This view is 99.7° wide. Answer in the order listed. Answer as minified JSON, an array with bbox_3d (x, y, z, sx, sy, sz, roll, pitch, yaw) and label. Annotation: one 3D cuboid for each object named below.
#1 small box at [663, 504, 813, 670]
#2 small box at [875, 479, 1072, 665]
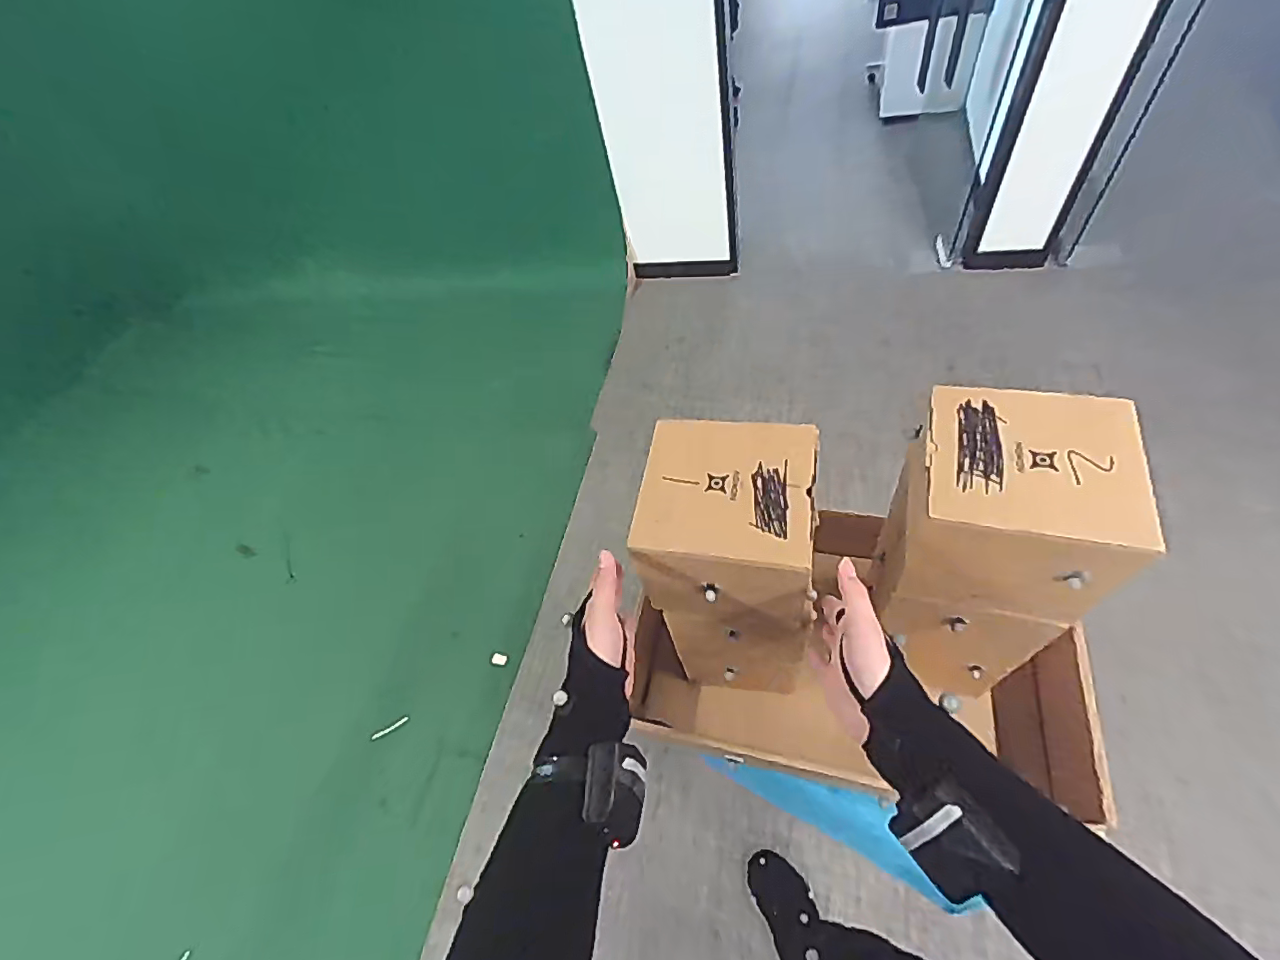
[{"bbox_3d":[0.140,0.148,0.738,0.179,0.176,0.168,3,57,14],"label":"small box"},{"bbox_3d":[0.409,0.121,0.693,0.179,0.176,0.168,9,59,19],"label":"small box"}]
